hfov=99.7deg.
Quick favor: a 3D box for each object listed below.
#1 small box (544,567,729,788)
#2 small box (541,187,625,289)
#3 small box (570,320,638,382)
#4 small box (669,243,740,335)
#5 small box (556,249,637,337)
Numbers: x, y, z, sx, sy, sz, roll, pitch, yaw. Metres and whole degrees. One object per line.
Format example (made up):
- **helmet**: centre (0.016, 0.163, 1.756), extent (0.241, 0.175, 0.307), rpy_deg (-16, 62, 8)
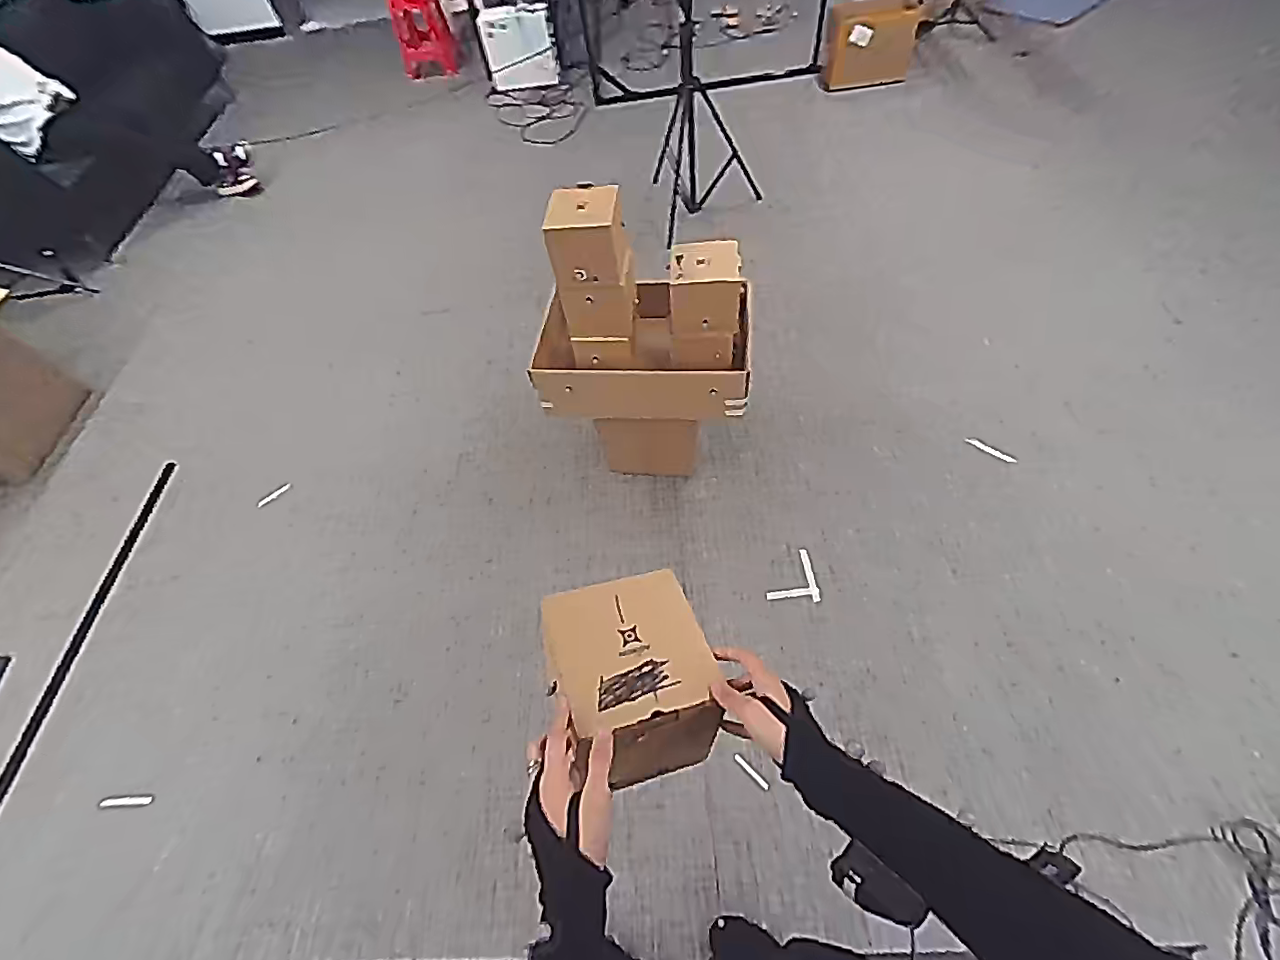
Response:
- **small box**: centre (-0.014, 0.235, 0.638), extent (0.168, 0.176, 0.179), rpy_deg (-9, 43, -16)
- **small box**: centre (-0.133, -0.596, 1.338), extent (0.168, 0.176, 0.179), rpy_deg (0, 55, 8)
- **small box**: centre (-0.100, -0.408, 1.605), extent (0.168, 0.176, 0.179), rpy_deg (1, 56, 7)
- **small box**: centre (0.170, -0.501, 1.429), extent (0.179, 0.176, 0.168), rpy_deg (0, 56, 7)
- **small box**: centre (-0.111, -0.505, 1.472), extent (0.179, 0.176, 0.168), rpy_deg (3, 56, 8)
